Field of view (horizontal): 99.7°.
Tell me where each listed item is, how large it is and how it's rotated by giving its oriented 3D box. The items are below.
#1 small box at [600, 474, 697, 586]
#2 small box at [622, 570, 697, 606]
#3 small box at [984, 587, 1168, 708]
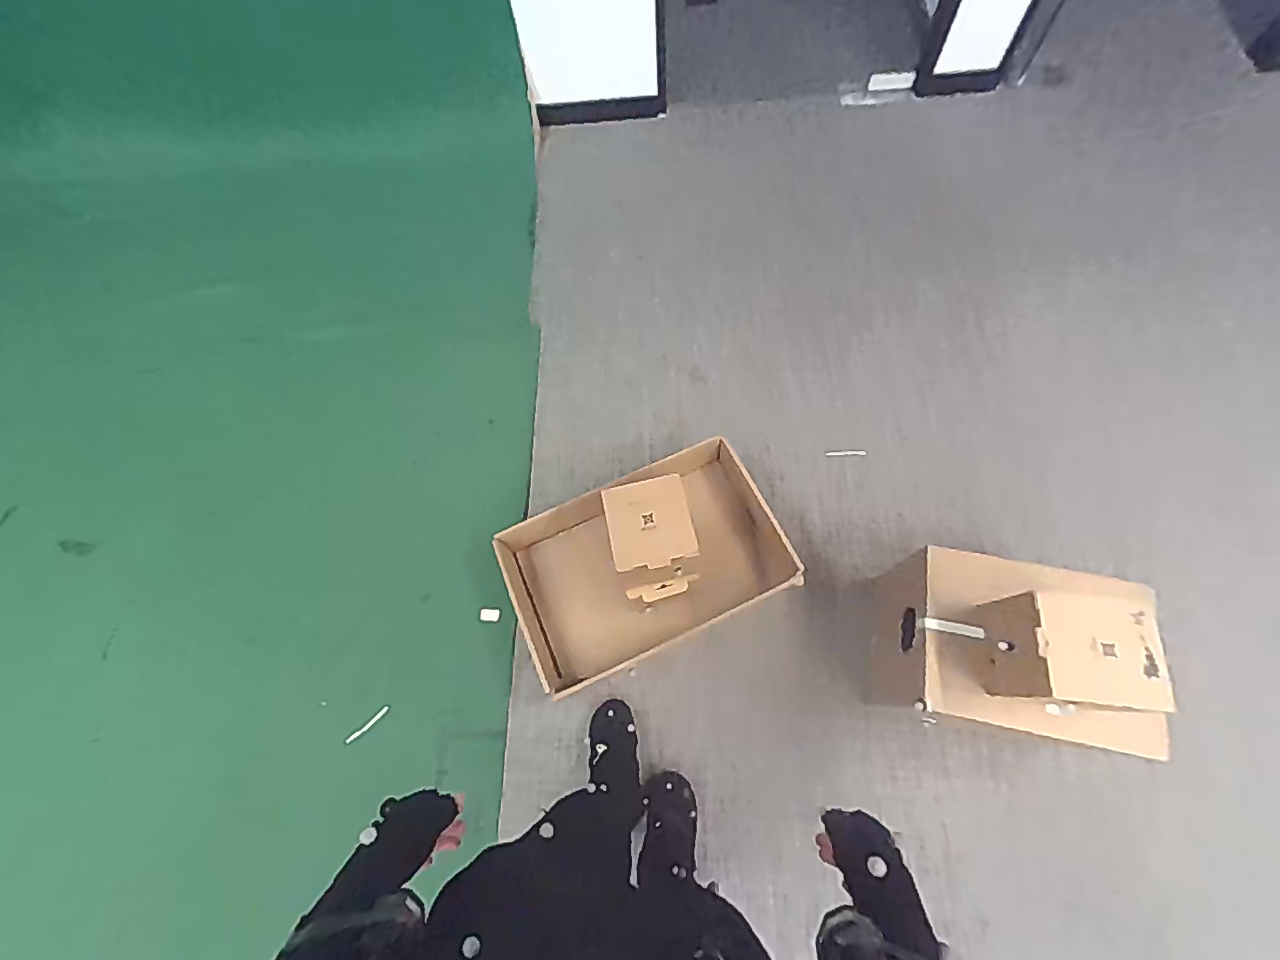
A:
[{"bbox_3d":[0.022,0.114,1.134,0.168,0.176,0.179,-13,65,-1],"label":"small box"},{"bbox_3d":[0.035,0.190,1.277,0.168,0.176,0.179,-17,66,-2],"label":"small box"},{"bbox_3d":[0.707,0.285,0.906,0.179,0.176,0.168,5,69,6],"label":"small box"}]
